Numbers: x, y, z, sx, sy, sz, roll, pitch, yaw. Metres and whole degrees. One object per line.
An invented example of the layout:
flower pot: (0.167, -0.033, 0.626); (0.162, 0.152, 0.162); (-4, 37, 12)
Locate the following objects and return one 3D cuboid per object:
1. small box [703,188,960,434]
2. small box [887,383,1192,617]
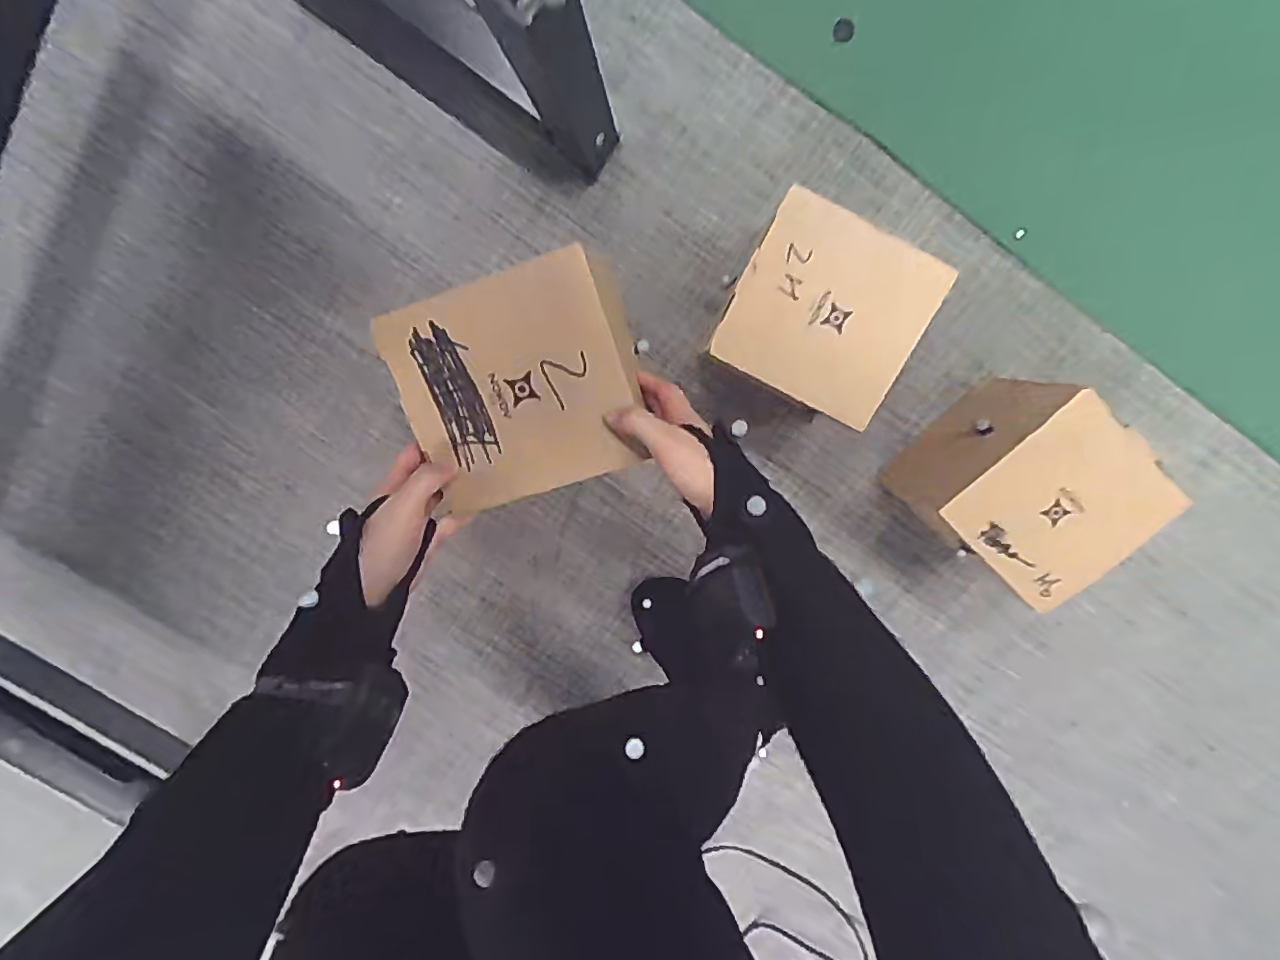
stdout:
small box: (0.182, -0.171, 0.576); (0.179, 0.176, 0.168); (27, 103, -2)
small box: (0.418, 0.008, 0.602); (0.168, 0.176, 0.179); (43, 102, -7)
